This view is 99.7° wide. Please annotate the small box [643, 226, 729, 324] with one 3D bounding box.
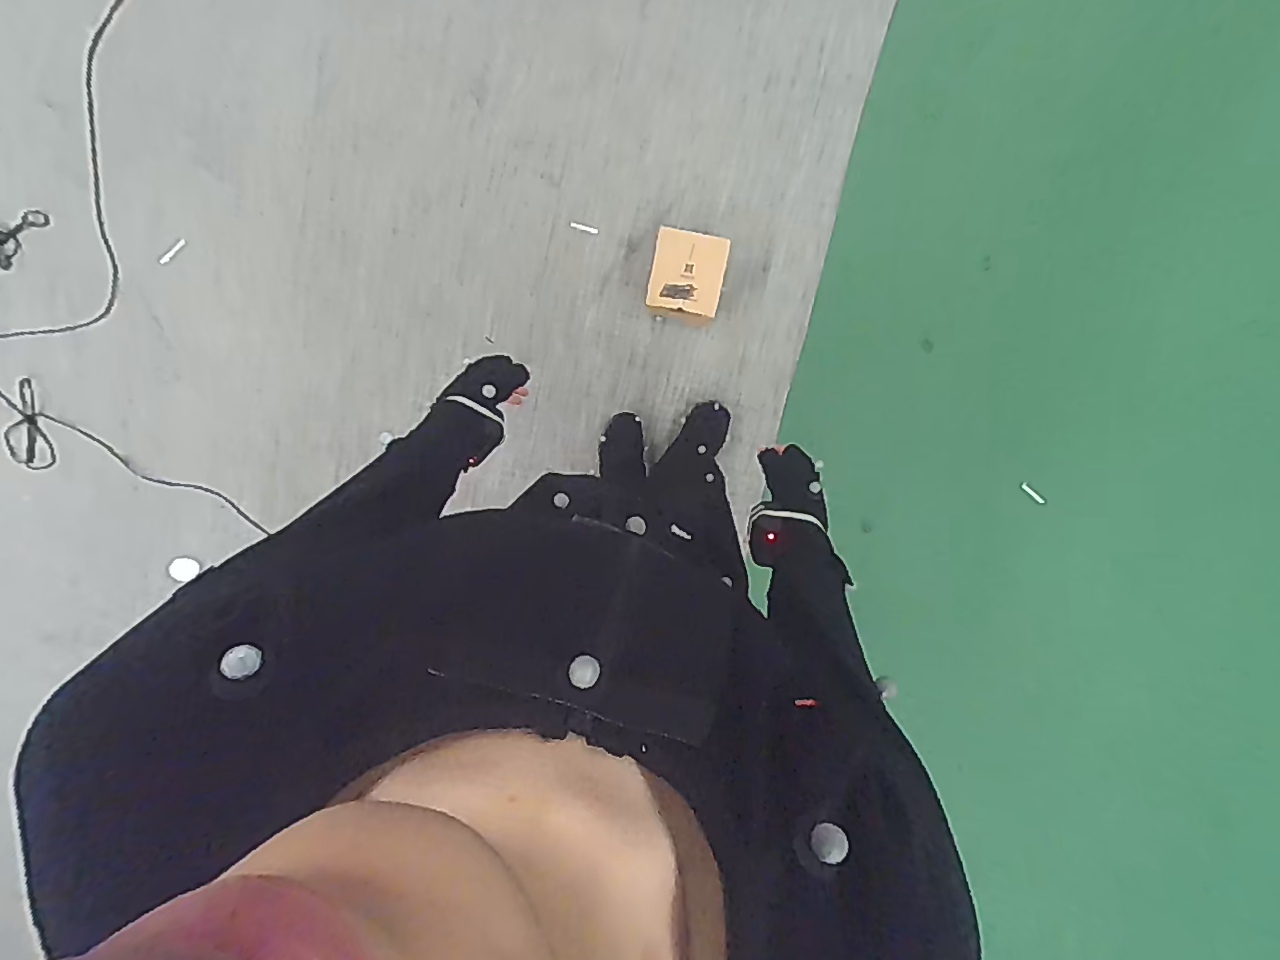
[{"bbox_3d":[0.108,-0.481,1.297,0.168,0.176,0.179,12,99,0],"label":"small box"}]
